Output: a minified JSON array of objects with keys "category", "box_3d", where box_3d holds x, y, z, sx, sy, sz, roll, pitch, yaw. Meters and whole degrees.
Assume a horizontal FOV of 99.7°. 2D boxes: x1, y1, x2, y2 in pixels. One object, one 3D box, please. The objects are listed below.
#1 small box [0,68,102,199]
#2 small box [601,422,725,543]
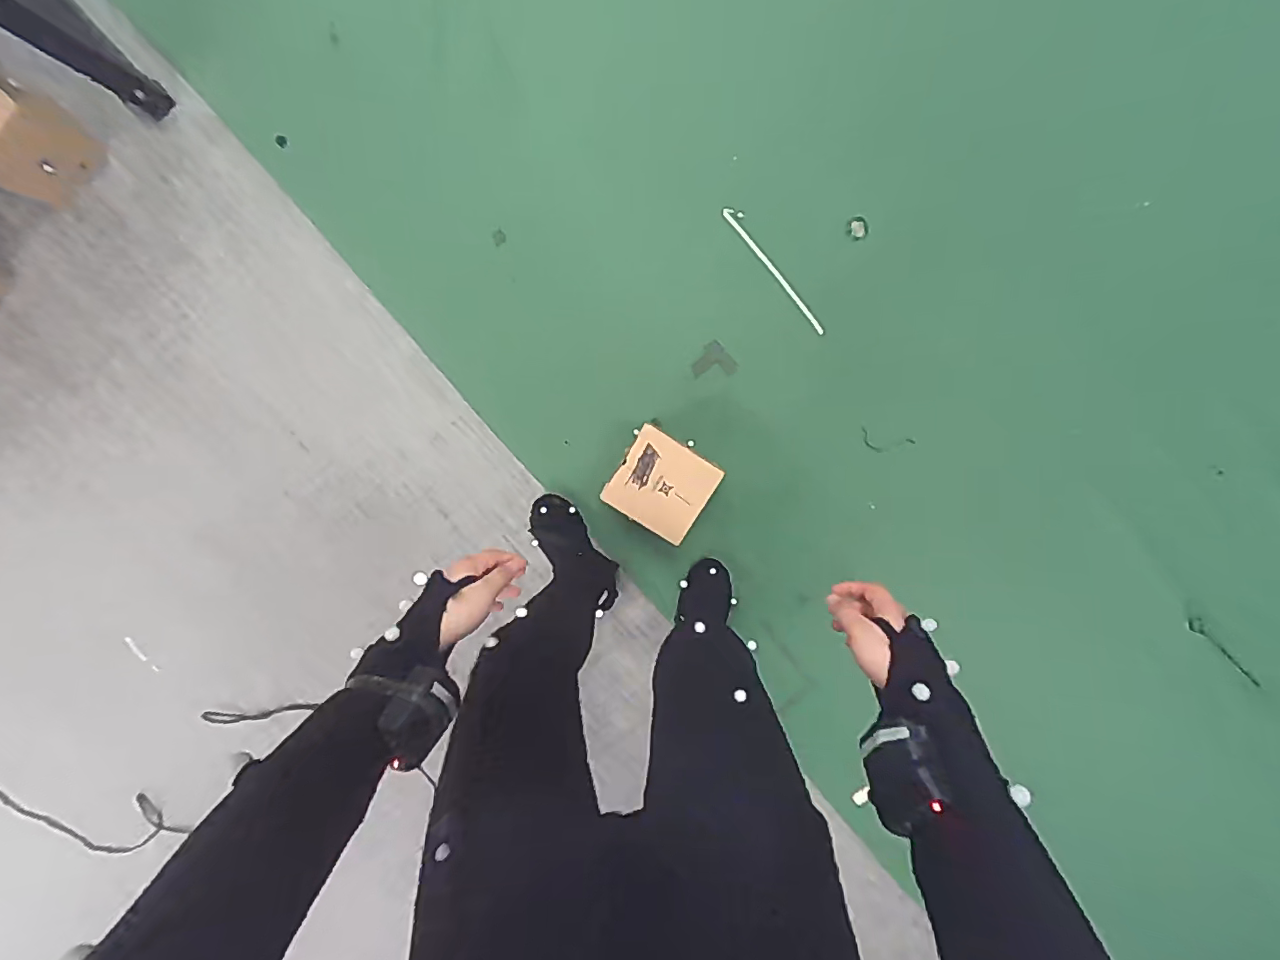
[{"category":"small box","box_3d":[-1.219,-0.677,1.041,0.179,0.176,0.168,43,97,-3]},{"category":"small box","box_3d":[0.044,-0.003,1.073,0.179,0.176,0.168,32,98,-3]}]
